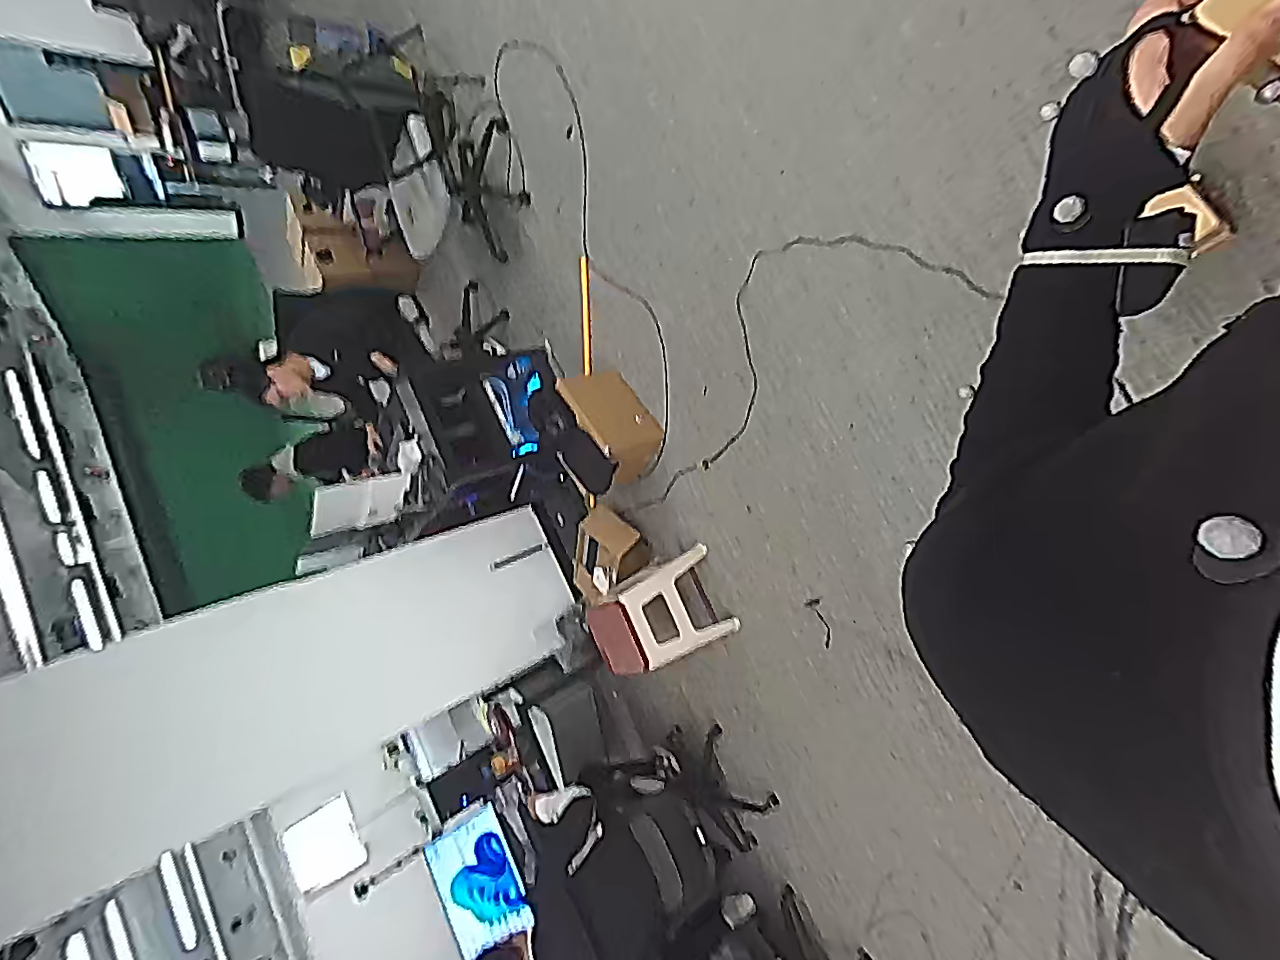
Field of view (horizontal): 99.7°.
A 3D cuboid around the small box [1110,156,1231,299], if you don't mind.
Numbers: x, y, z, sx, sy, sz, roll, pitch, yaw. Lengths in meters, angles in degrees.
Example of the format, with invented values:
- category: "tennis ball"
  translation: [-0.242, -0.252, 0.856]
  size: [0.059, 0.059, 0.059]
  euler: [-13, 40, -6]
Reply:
- category: "small box"
  translation: [0.940, -0.460, 1.006]
  size: [0.168, 0.176, 0.179]
  euler: [-39, 75, 51]

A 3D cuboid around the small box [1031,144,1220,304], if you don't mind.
- category: "small box"
  translation: [0.816, -0.422, 0.909]
  size: [0.168, 0.176, 0.179]
  euler: [-43, 70, 49]
